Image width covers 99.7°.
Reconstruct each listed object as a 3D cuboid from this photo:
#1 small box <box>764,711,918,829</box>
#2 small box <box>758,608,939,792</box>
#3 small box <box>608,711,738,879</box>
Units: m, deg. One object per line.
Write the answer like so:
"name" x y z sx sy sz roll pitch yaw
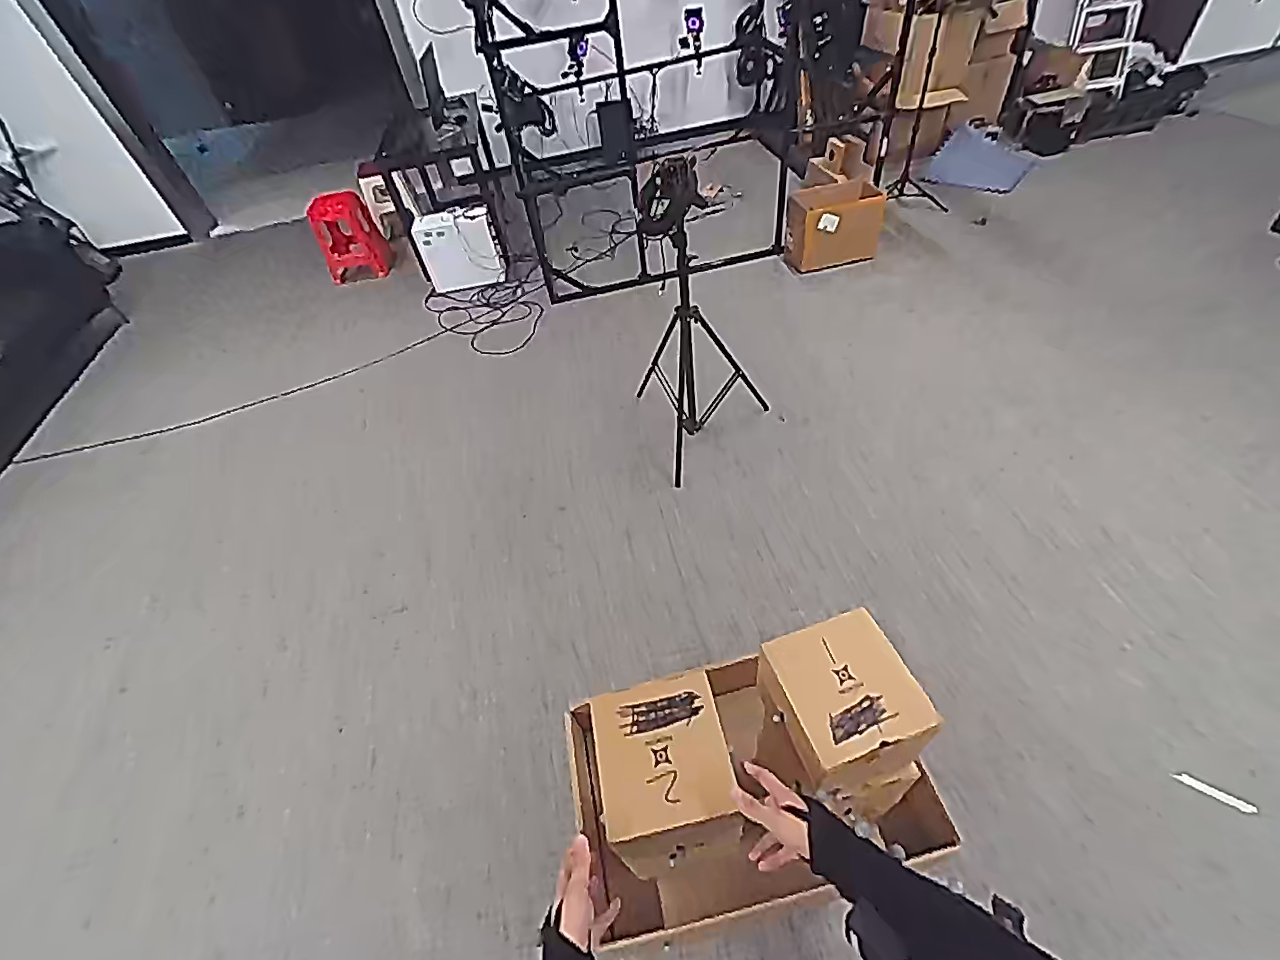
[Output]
"small box" 0.310 0.435 0.881 0.168 0.176 0.179 -16 48 -4
"small box" 0.279 0.318 0.768 0.168 0.176 0.179 -18 47 -7
"small box" 0.052 0.503 0.863 0.168 0.176 0.179 -14 46 -2
